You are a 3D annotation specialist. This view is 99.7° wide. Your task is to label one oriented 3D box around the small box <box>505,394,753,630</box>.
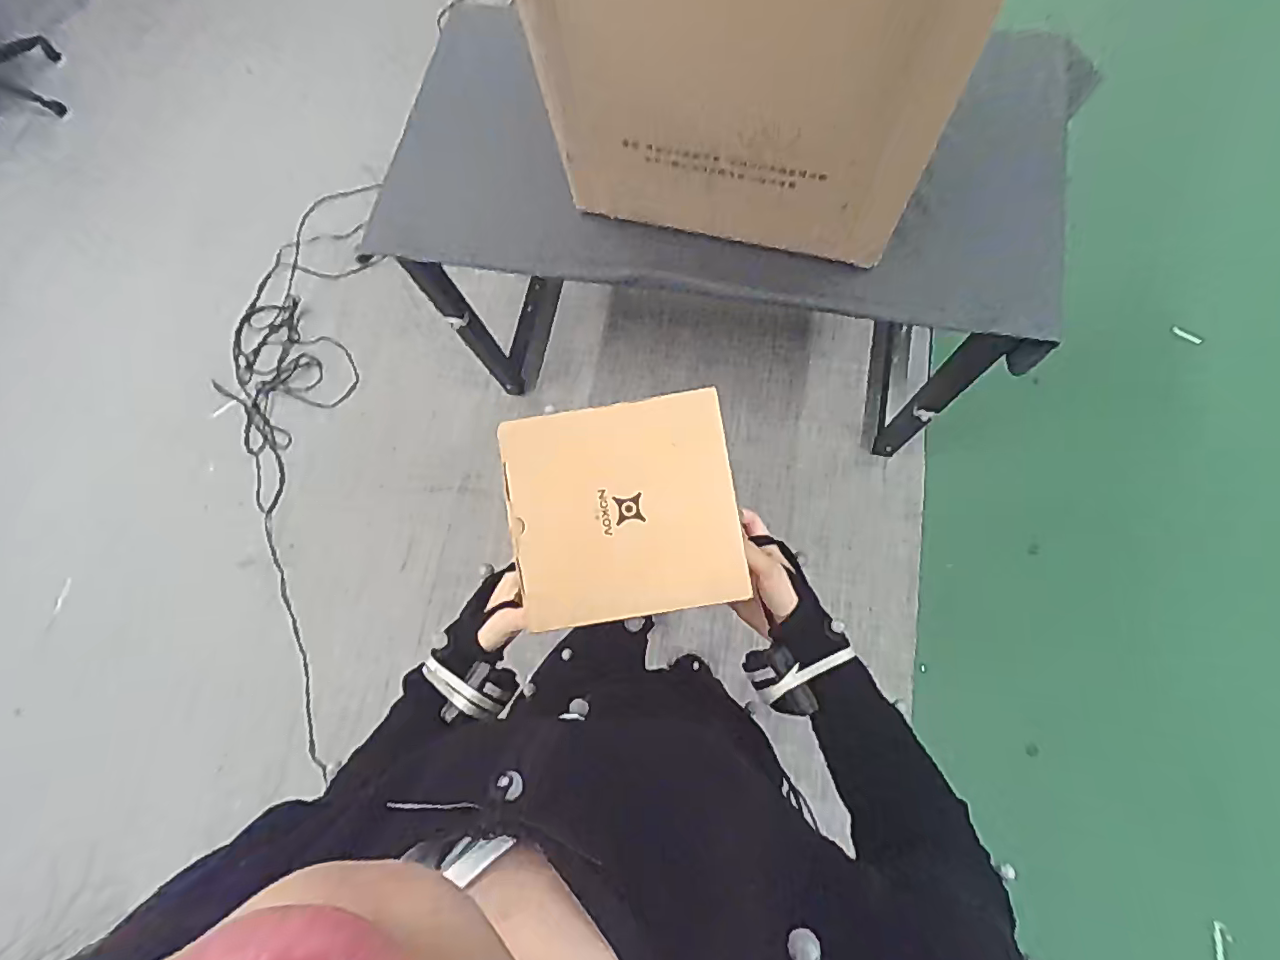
[{"bbox_3d":[-0.009,0.028,0.503,0.179,0.176,0.168,-10,86,1],"label":"small box"}]
